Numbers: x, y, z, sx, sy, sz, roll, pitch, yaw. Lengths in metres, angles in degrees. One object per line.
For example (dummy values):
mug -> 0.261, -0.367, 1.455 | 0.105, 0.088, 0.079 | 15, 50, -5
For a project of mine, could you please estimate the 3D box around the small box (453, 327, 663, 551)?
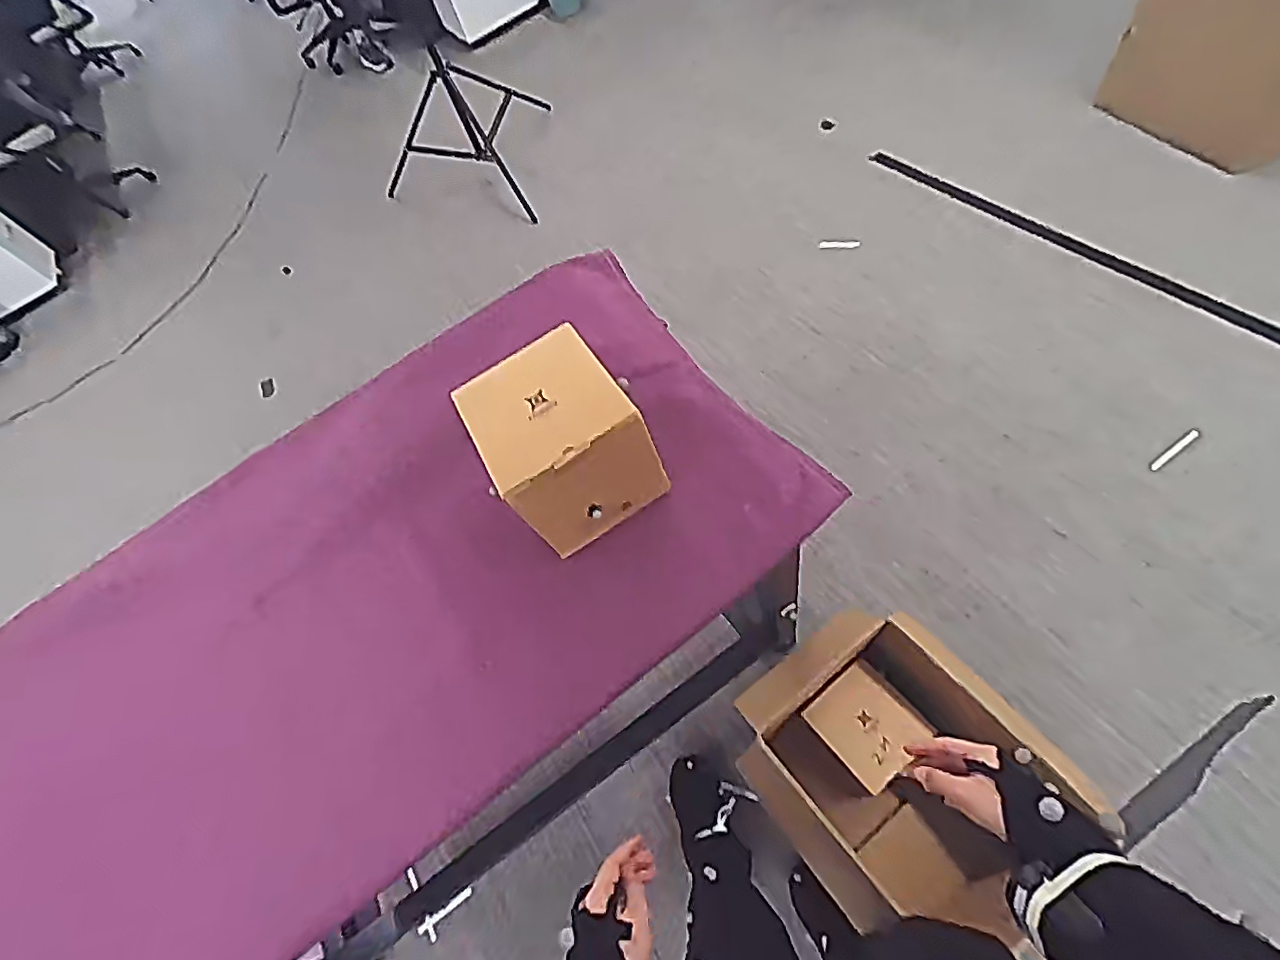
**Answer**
small box -> -0.093, -0.044, 0.662 | 0.168, 0.176, 0.179 | -33, 58, -4
